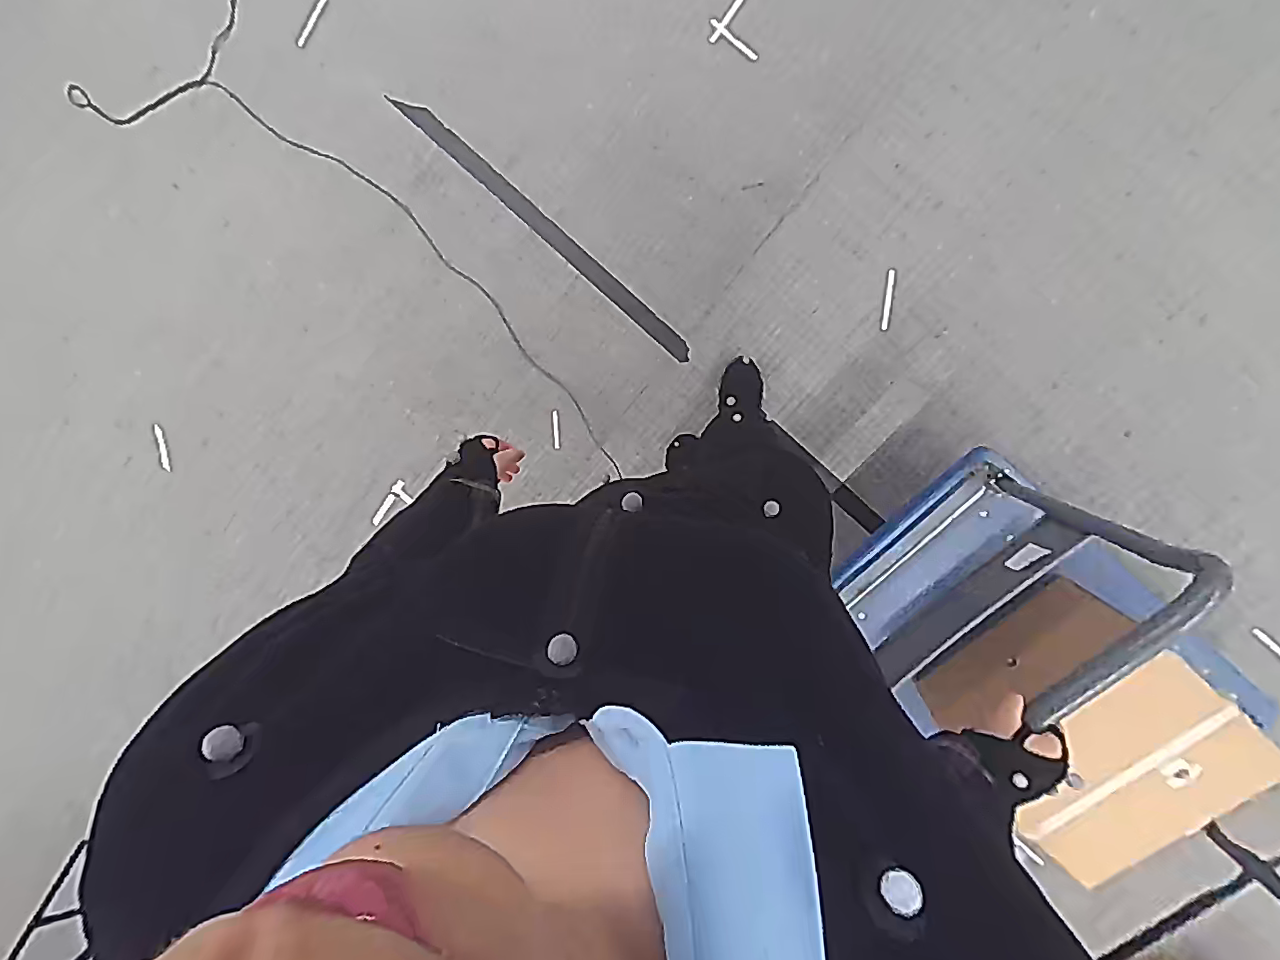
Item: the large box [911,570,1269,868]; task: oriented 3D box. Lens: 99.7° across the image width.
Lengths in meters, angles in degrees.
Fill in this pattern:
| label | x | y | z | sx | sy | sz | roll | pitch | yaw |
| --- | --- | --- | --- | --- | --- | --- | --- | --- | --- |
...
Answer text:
| label | x | y | z | sx | sy | sz | roll | pitch | yaw |
| --- | --- | --- | --- | --- | --- | --- | --- | --- | --- |
| large box | 0.861 | 0.463 | 1.114 | 0.320 | 0.320 | 0.408 | 43 | 104 | -1 |
